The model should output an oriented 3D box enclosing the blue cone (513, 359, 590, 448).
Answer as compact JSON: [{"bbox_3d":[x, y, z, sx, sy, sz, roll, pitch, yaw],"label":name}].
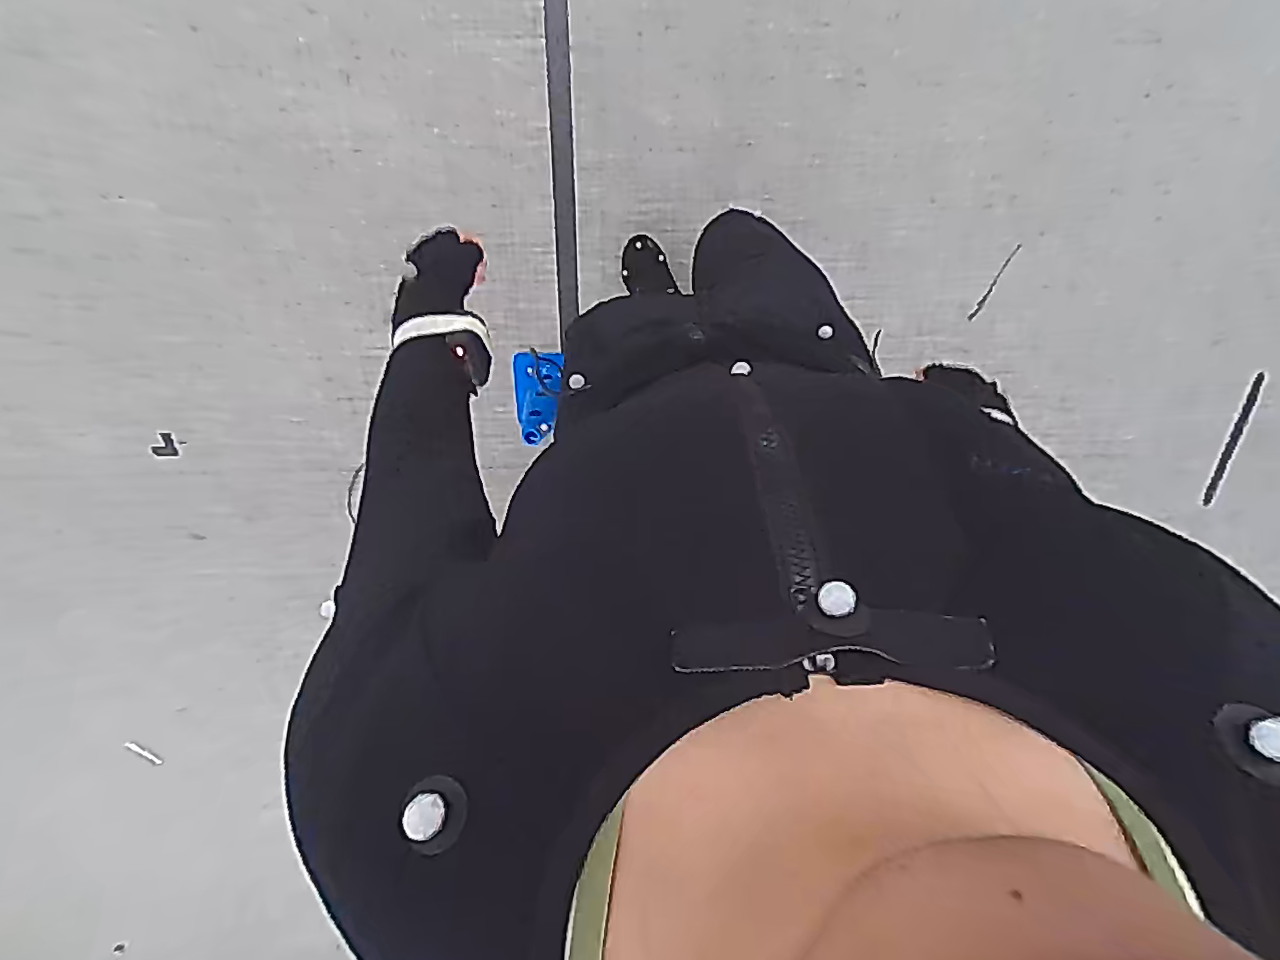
[{"bbox_3d":[-0.228,-0.150,1.261,0.193,0.380,0.192,-1,115,0],"label":"blue cone"}]
